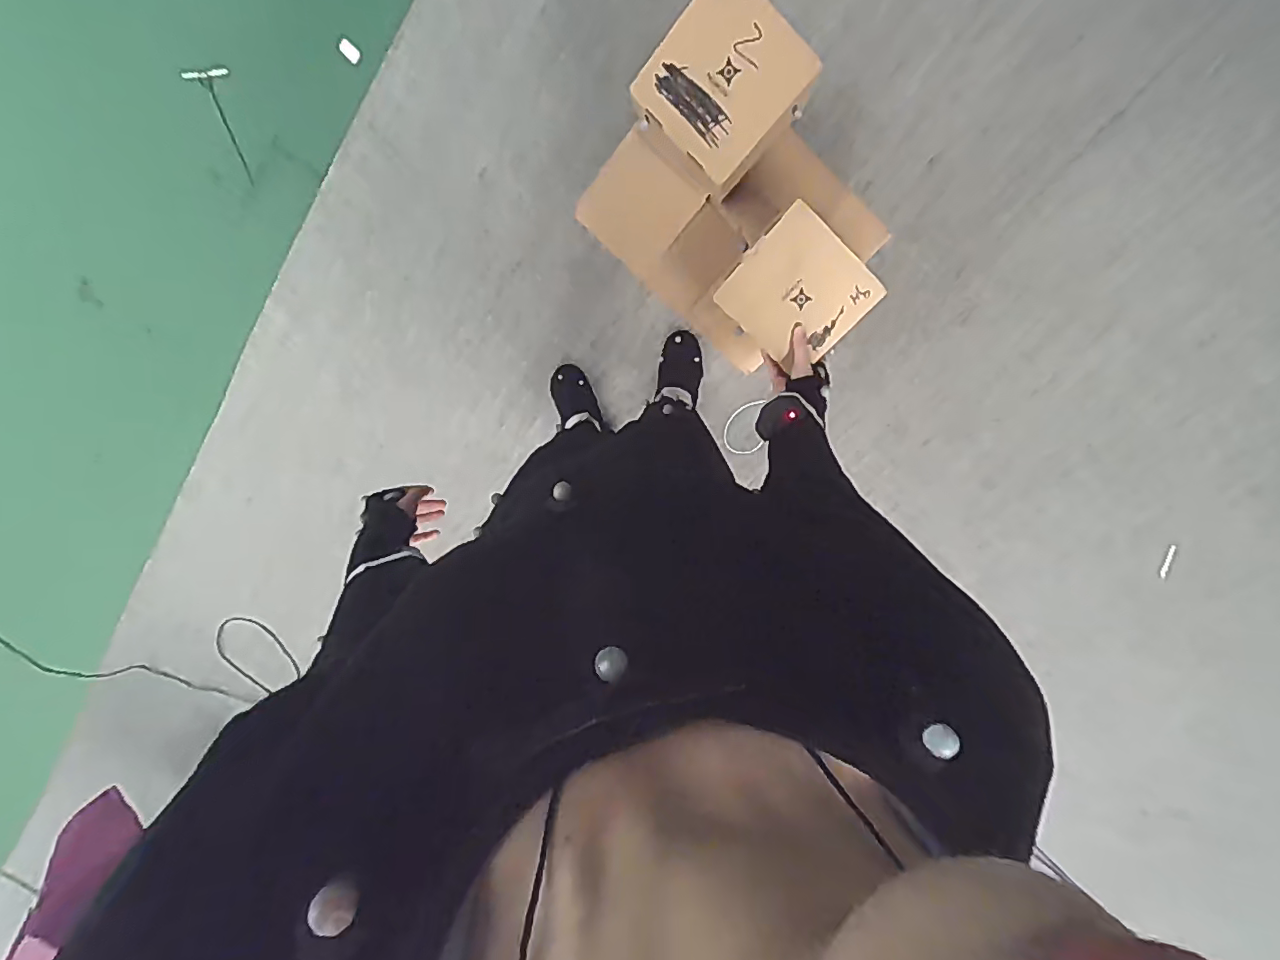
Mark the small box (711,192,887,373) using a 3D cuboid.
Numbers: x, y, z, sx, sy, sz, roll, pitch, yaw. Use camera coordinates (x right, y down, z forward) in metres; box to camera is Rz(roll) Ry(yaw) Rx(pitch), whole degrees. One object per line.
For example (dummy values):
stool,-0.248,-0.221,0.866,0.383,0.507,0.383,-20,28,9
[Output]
small box,0.221,-0.286,0.801,0.179,0.176,0.168,41,111,-9
